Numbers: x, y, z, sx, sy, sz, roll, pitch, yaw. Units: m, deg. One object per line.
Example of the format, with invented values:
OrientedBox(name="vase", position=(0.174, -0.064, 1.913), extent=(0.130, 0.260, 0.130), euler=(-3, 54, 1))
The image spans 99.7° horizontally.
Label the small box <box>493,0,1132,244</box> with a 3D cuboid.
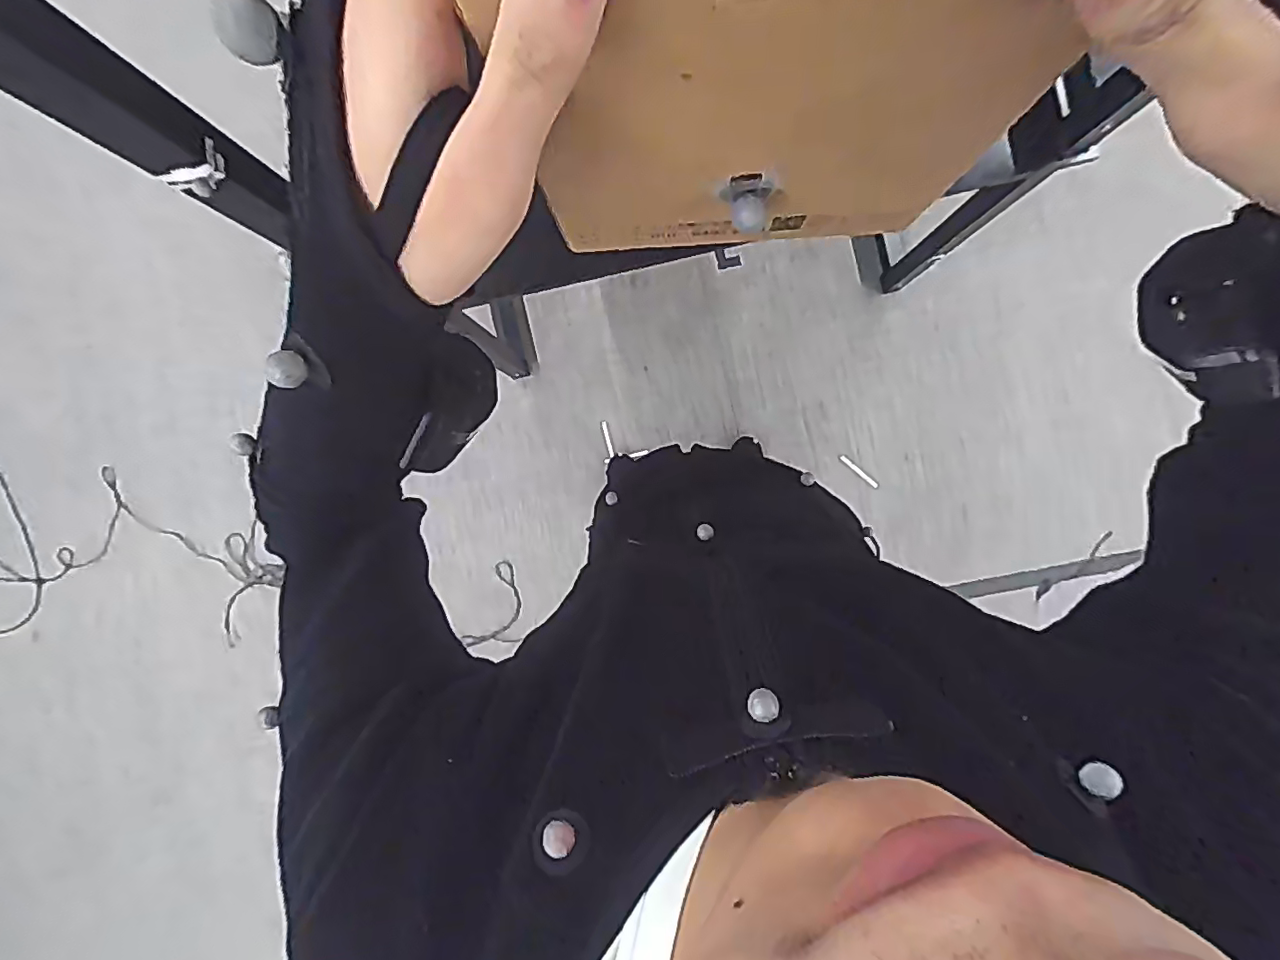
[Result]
OrientedBox(name="small box", position=(0.040, -0.202, 0.180), extent=(0.168, 0.176, 0.179), euler=(-2, 92, 4))
